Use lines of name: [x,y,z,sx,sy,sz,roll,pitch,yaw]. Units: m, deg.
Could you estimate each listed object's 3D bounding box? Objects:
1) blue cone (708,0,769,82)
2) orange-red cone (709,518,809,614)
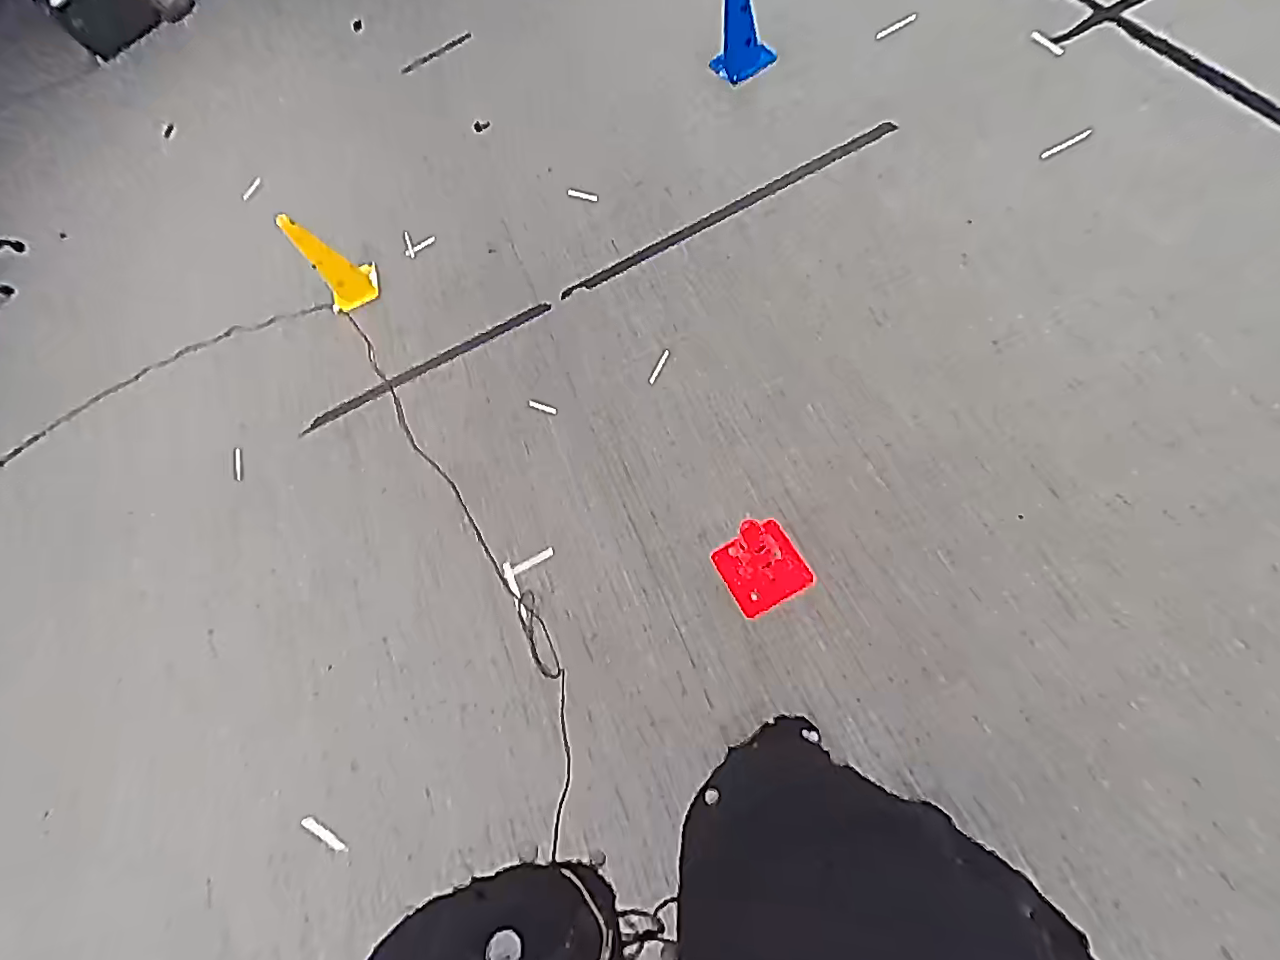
blue cone: [0.329,-1.670,1.920,0.193,0.380,0.192,-31,64,2]
orange-red cone: [0.254,0.152,1.207,0.199,0.360,0.198,-30,64,2]
